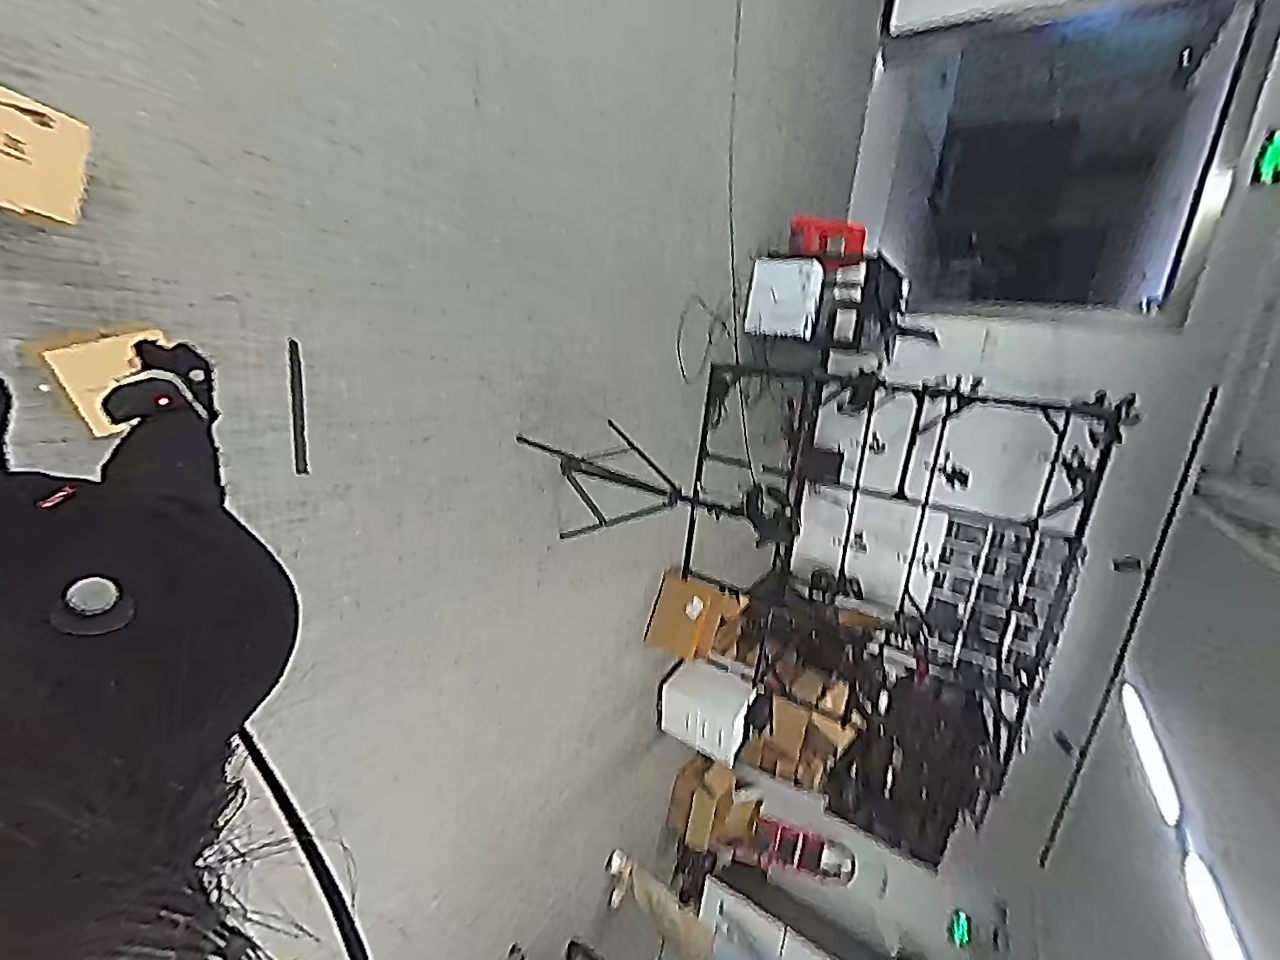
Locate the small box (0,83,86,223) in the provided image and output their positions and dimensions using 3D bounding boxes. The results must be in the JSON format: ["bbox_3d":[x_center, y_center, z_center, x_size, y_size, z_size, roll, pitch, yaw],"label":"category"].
[{"bbox_3d":[-1.068,-0.547,0.892,0.168,0.176,0.179,11,94,-59],"label":"small box"}]

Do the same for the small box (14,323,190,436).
[{"bbox_3d":[-1.051,-0.206,1.062,0.179,0.176,0.168,-37,133,-45],"label":"small box"}]
